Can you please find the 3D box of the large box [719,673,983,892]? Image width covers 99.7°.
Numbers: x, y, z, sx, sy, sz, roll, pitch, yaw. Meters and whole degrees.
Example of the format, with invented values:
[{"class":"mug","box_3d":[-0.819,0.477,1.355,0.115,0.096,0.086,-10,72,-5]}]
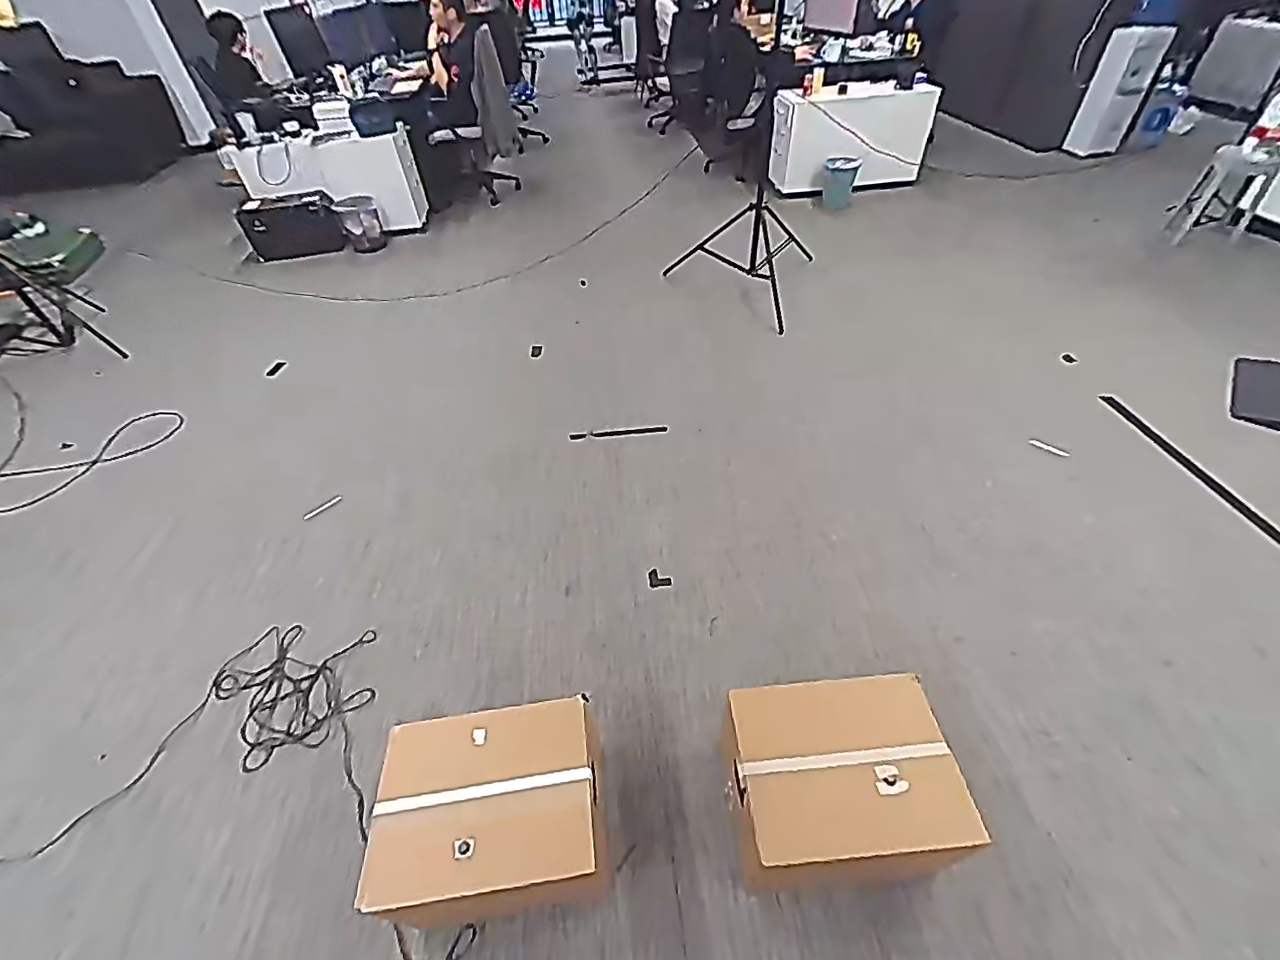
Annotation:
[{"class":"large box","box_3d":[0.403,0.645,1.154,0.408,0.320,0.320,-4,45,-2]}]
